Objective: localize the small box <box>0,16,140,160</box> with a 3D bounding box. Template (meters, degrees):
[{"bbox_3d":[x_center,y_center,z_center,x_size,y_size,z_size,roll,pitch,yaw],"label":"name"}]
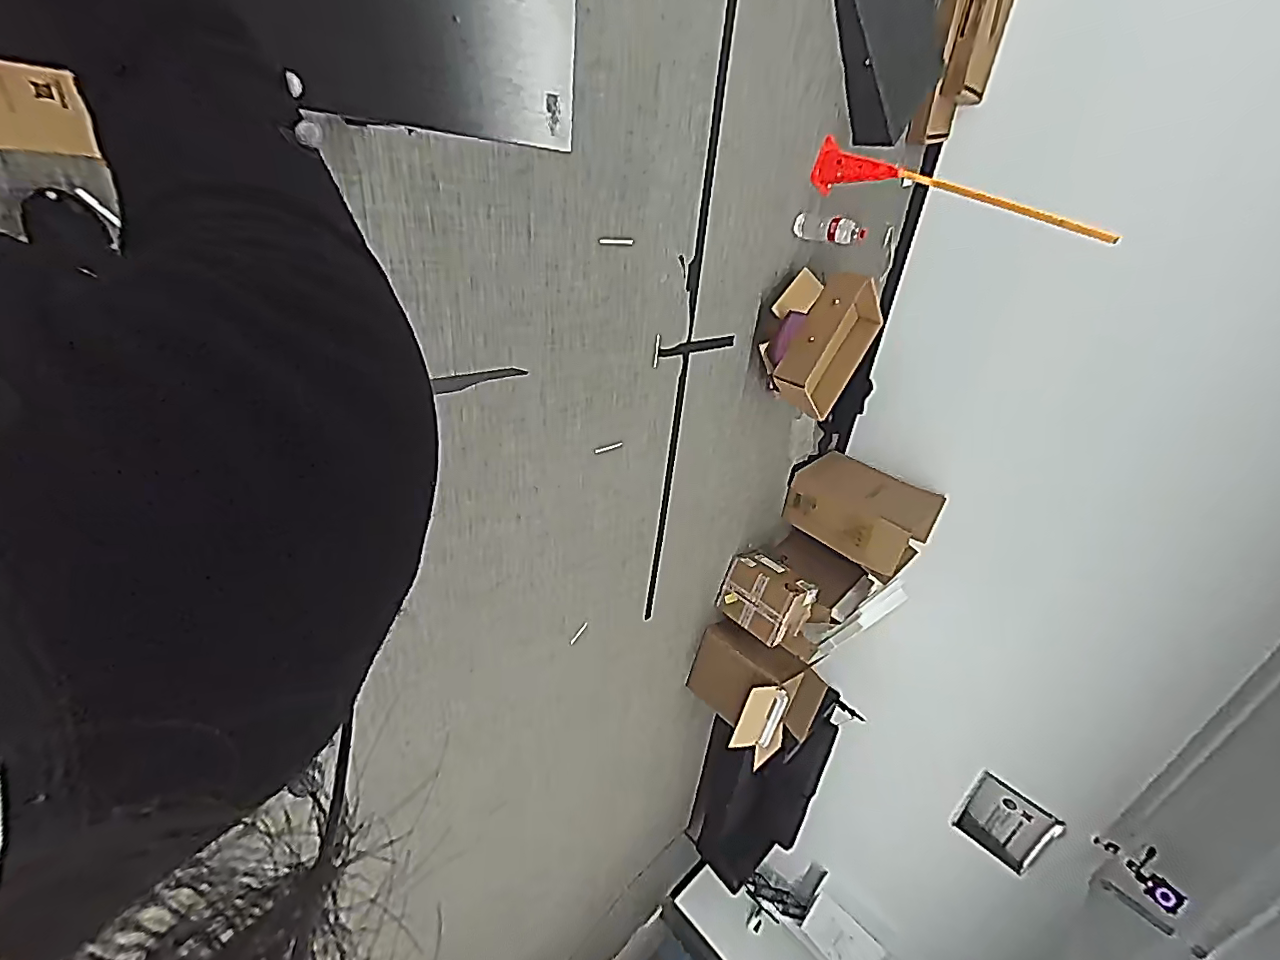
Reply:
[{"bbox_3d":[-0.936,-0.612,0.849,0.179,0.176,0.168,-20,128,-39],"label":"small box"}]
